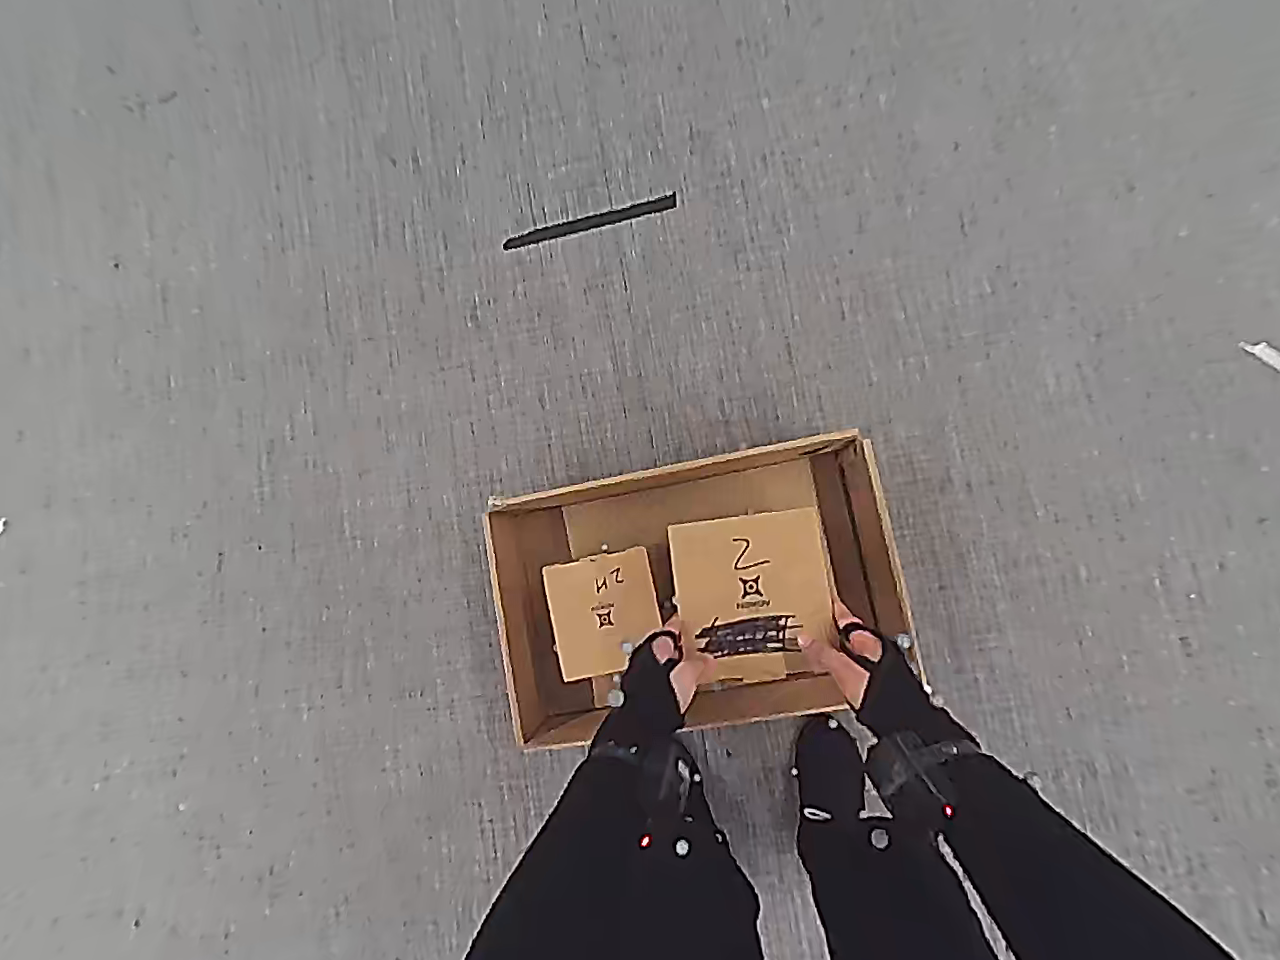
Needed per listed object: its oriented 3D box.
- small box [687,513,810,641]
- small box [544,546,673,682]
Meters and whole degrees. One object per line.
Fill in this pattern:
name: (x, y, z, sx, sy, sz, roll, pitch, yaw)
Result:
small box: (0.167, 0.150, 0.869, 0.168, 0.176, 0.179, -6, 84, 8)
small box: (-0.043, 0.210, 0.889, 0.168, 0.176, 0.179, -13, 83, 4)
